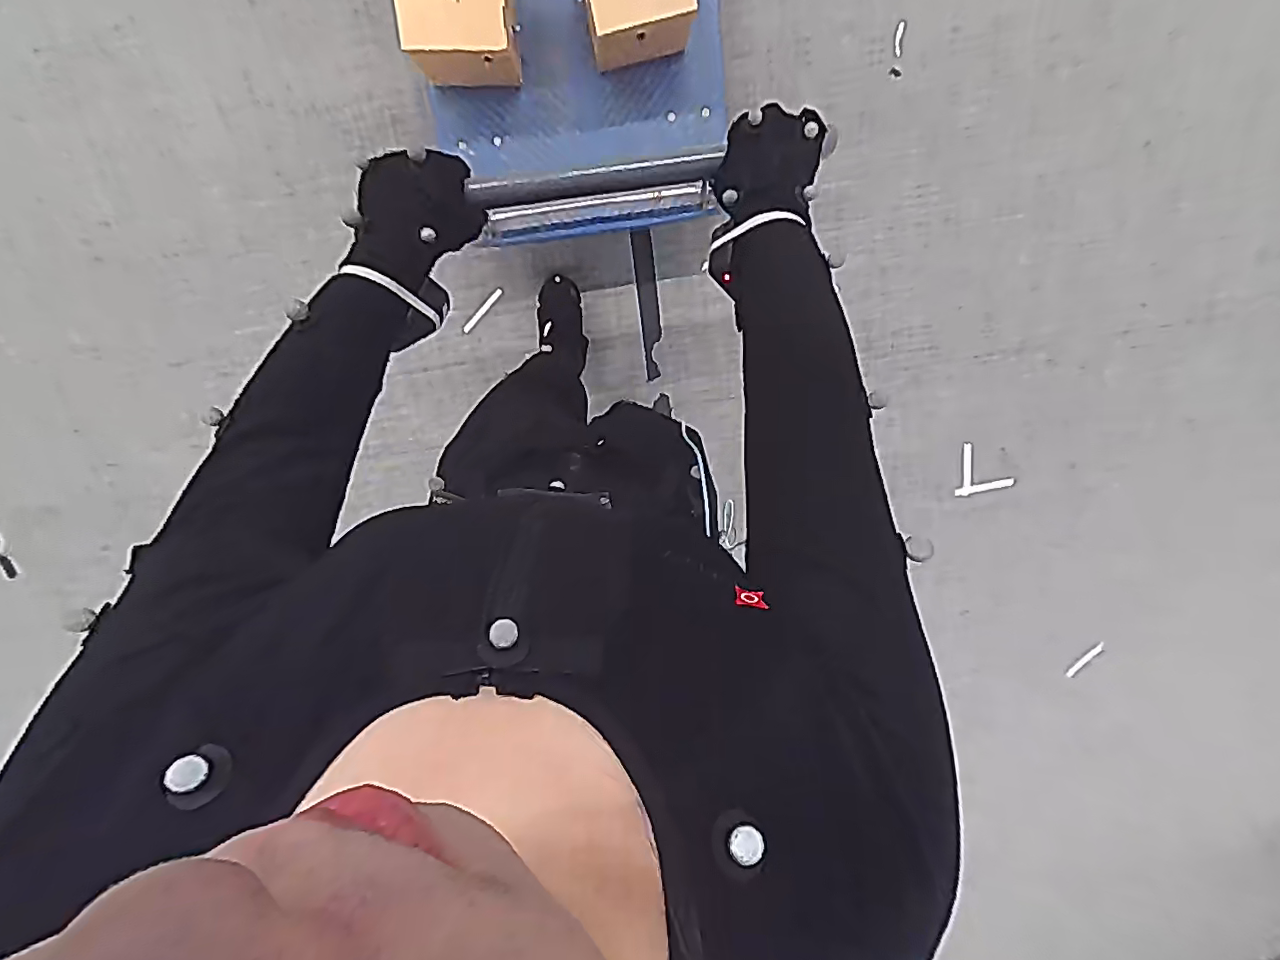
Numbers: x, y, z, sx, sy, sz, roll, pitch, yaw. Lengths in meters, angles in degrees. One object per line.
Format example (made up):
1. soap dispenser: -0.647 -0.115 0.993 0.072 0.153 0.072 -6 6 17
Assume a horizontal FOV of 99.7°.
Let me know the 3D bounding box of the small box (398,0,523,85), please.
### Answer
1. small box: -0.308 -0.814 0.944 0.179 0.176 0.168 -3 110 -4

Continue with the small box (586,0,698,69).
1. small box: -0.007 -0.859 0.945 0.179 0.176 0.168 -13 111 2
